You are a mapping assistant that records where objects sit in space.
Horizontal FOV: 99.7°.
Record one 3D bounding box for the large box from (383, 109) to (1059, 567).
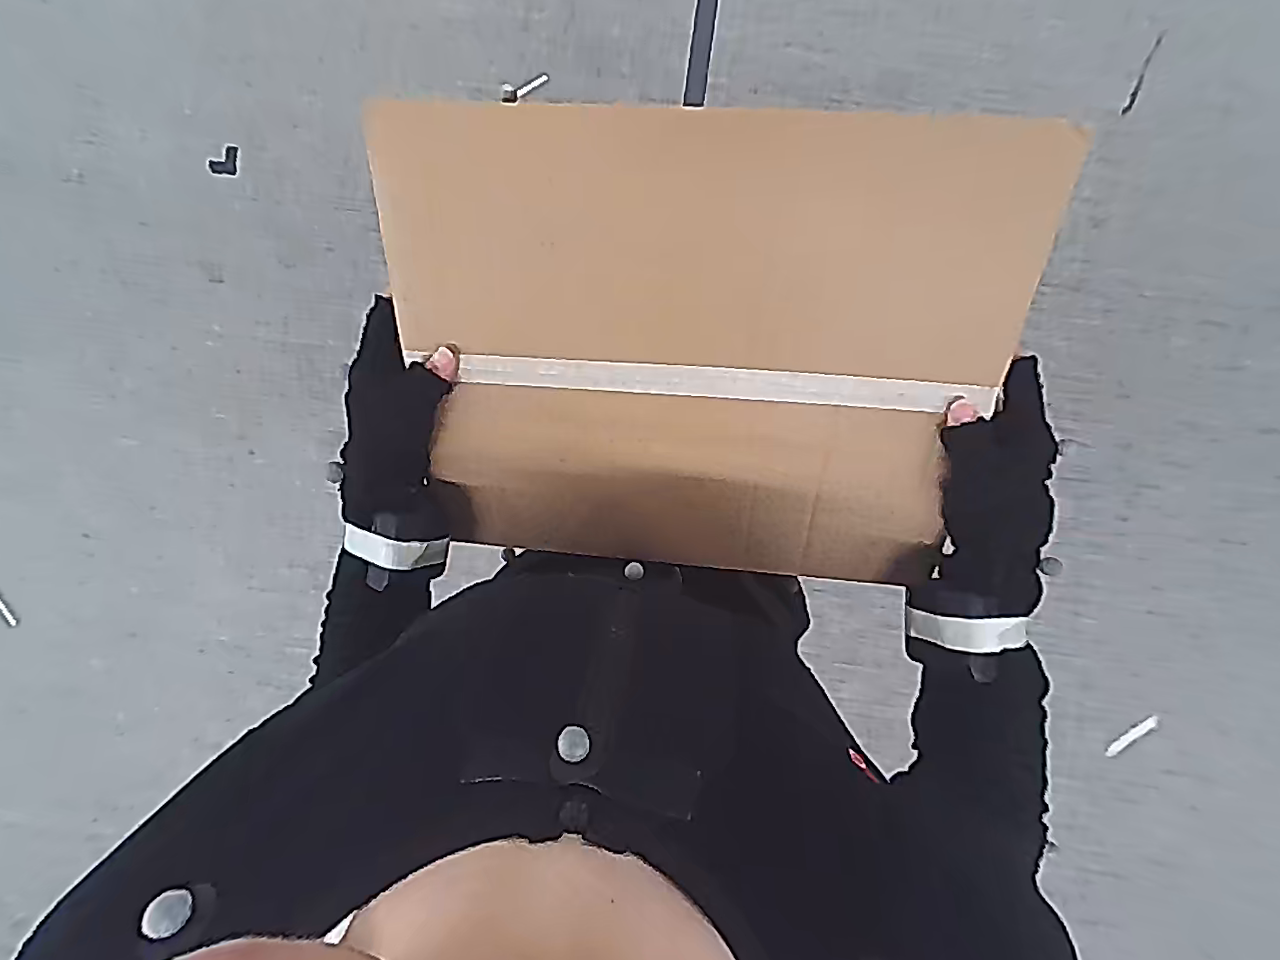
[{"bbox_3d":[0.048,-0.145,0.515,0.408,0.320,0.320,5,120,5],"label":"large box"}]
